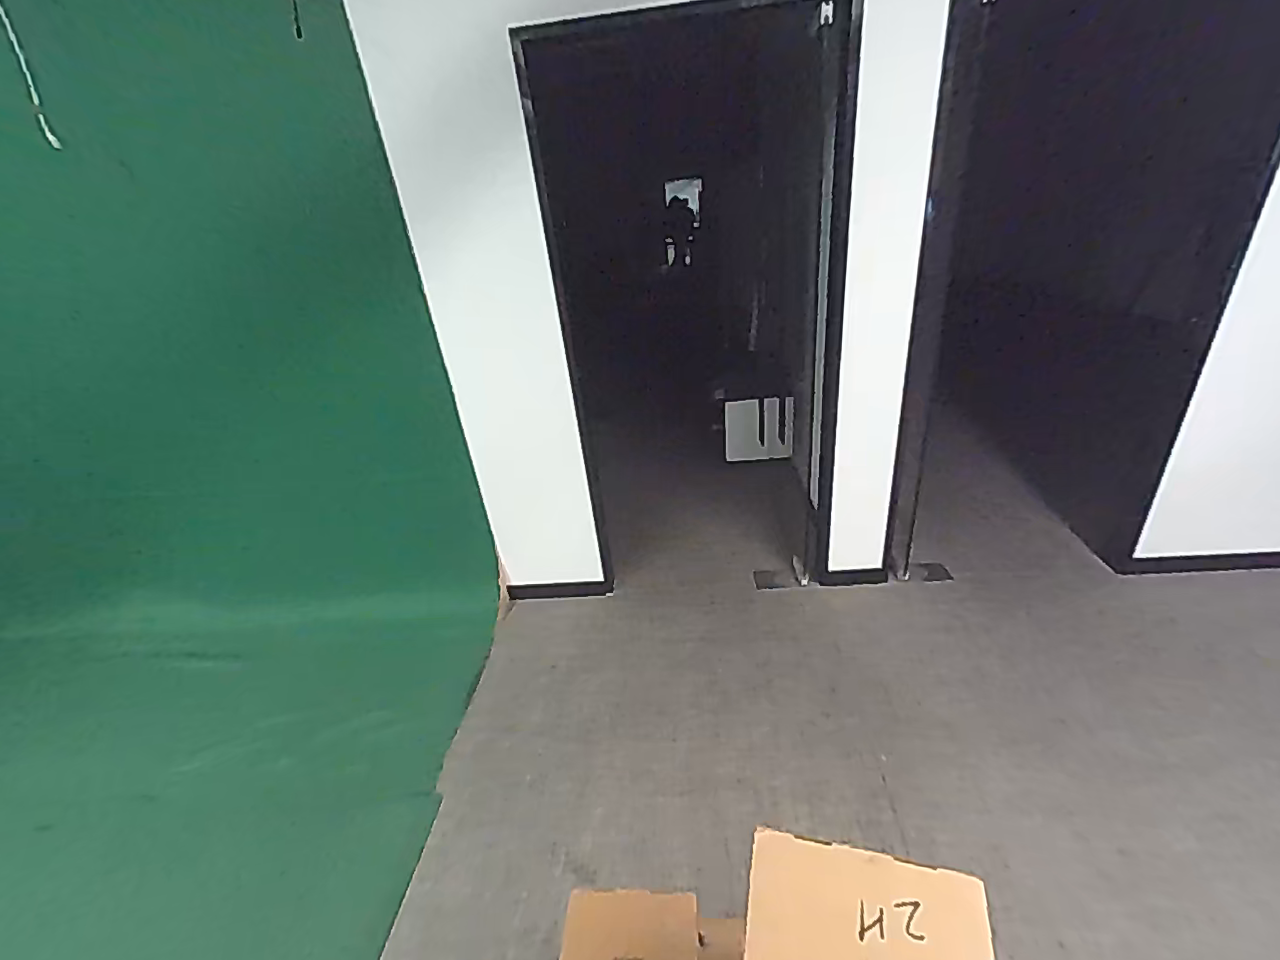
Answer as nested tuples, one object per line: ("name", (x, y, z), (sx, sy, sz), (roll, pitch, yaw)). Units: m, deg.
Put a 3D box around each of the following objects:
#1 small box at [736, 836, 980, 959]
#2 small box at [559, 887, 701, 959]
("small box", (0.162, 0.414, 0.431), (0.168, 0.176, 0.179), (4, 52, 16))
("small box", (-0.009, 0.649, 0.672), (0.168, 0.176, 0.179), (-3, 29, 6))
